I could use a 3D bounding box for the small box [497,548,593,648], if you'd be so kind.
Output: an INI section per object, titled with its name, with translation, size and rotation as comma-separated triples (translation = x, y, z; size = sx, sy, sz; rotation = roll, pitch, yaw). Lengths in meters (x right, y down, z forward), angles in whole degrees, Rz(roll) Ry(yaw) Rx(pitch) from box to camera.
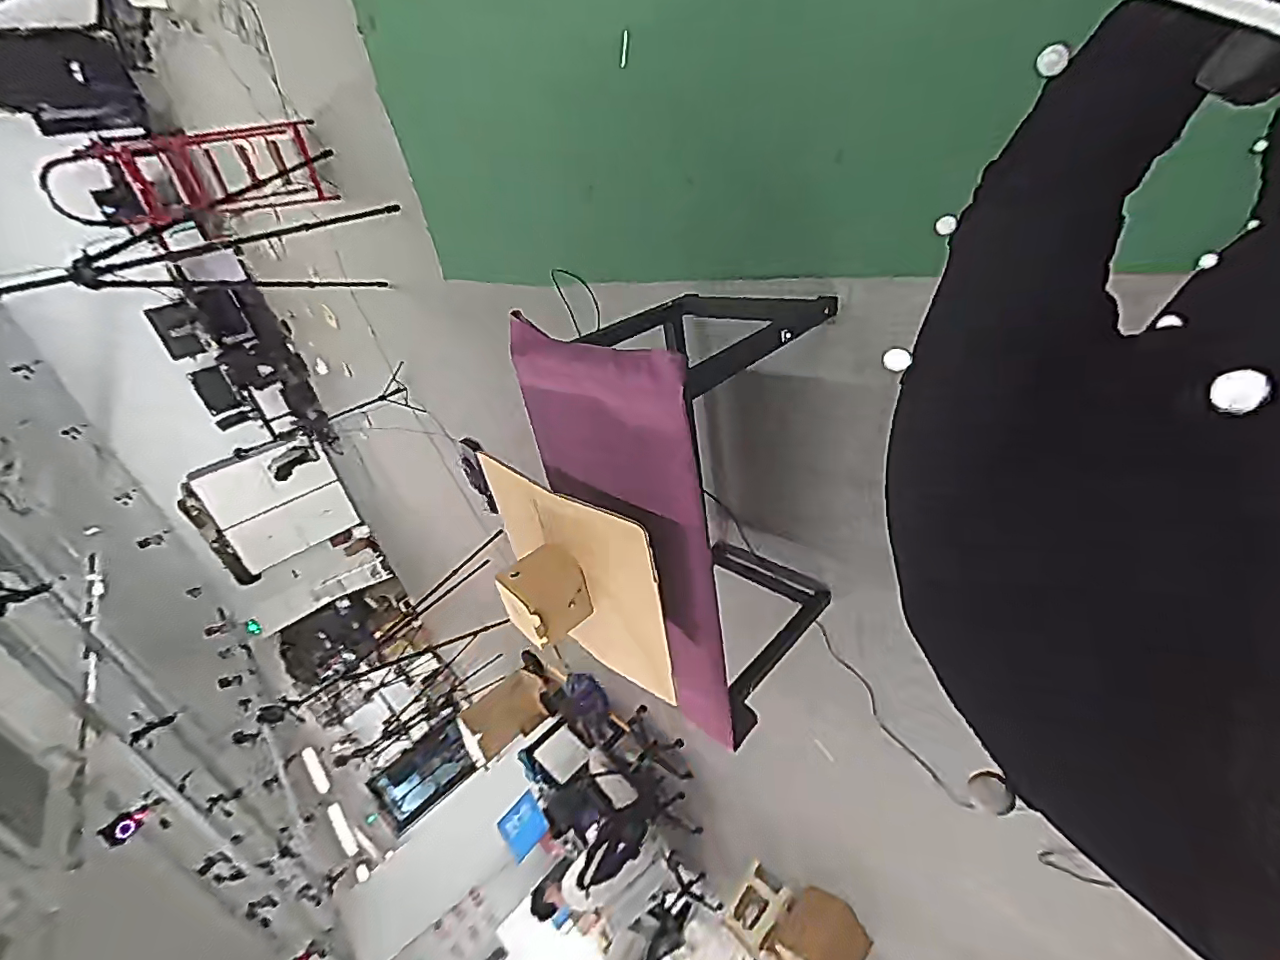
[small box]
translation = -0.253, 0.306, 1.455
size = 0.179, 0.176, 0.168
rotation = 24, 135, 42
